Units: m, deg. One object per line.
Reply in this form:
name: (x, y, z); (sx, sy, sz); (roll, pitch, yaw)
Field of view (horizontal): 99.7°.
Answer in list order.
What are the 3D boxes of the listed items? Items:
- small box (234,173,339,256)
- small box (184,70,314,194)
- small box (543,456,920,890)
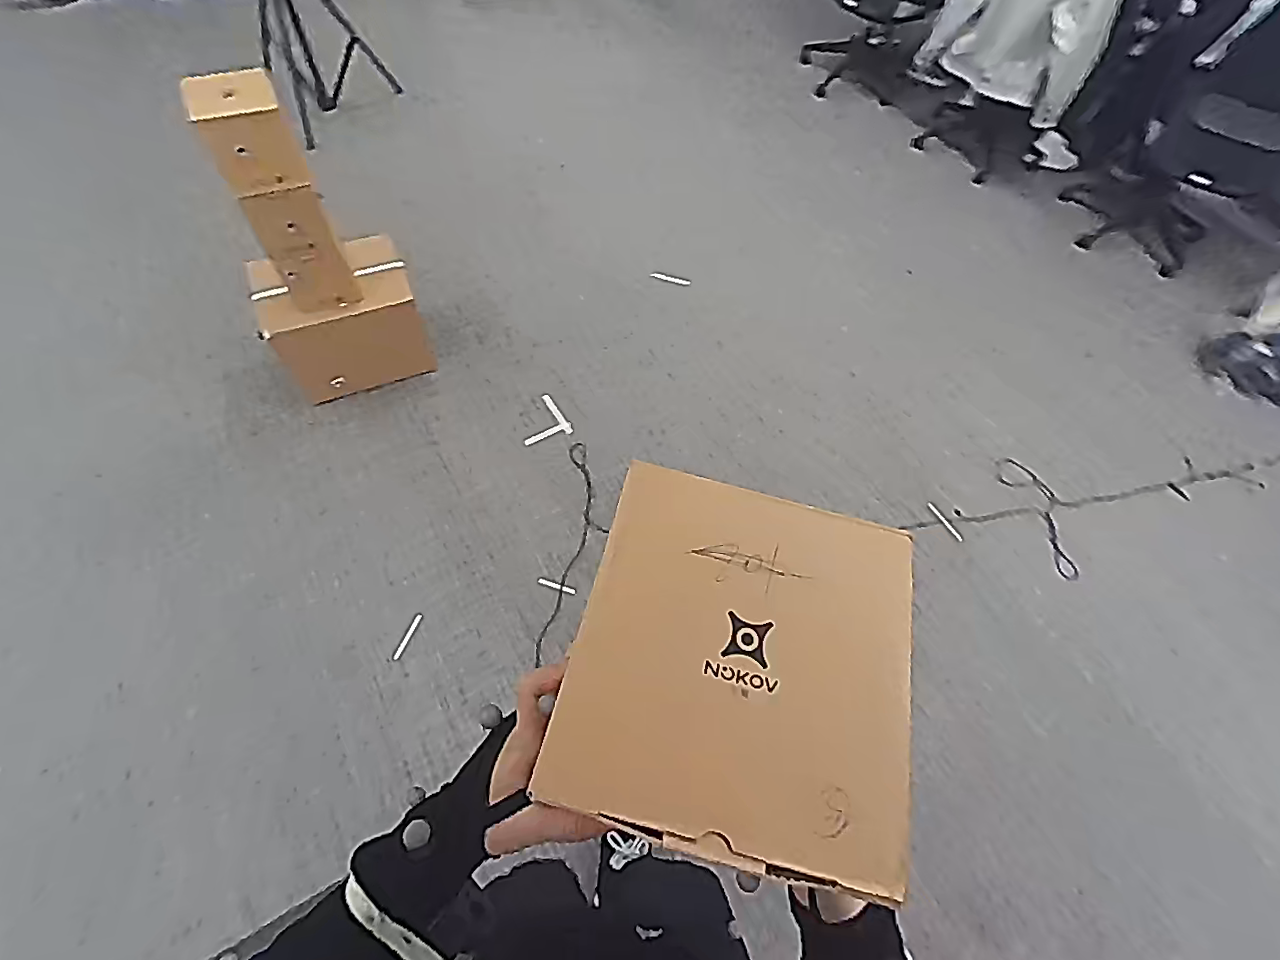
small box: (-0.868, -0.675, 1.329); (0.168, 0.176, 0.179); (-20, 65, -17)
small box: (-0.849, -0.754, 1.187); (0.168, 0.176, 0.179); (-23, 64, -18)
small box: (0.050, 0.116, 0.337); (0.168, 0.176, 0.179); (14, 60, 1)
